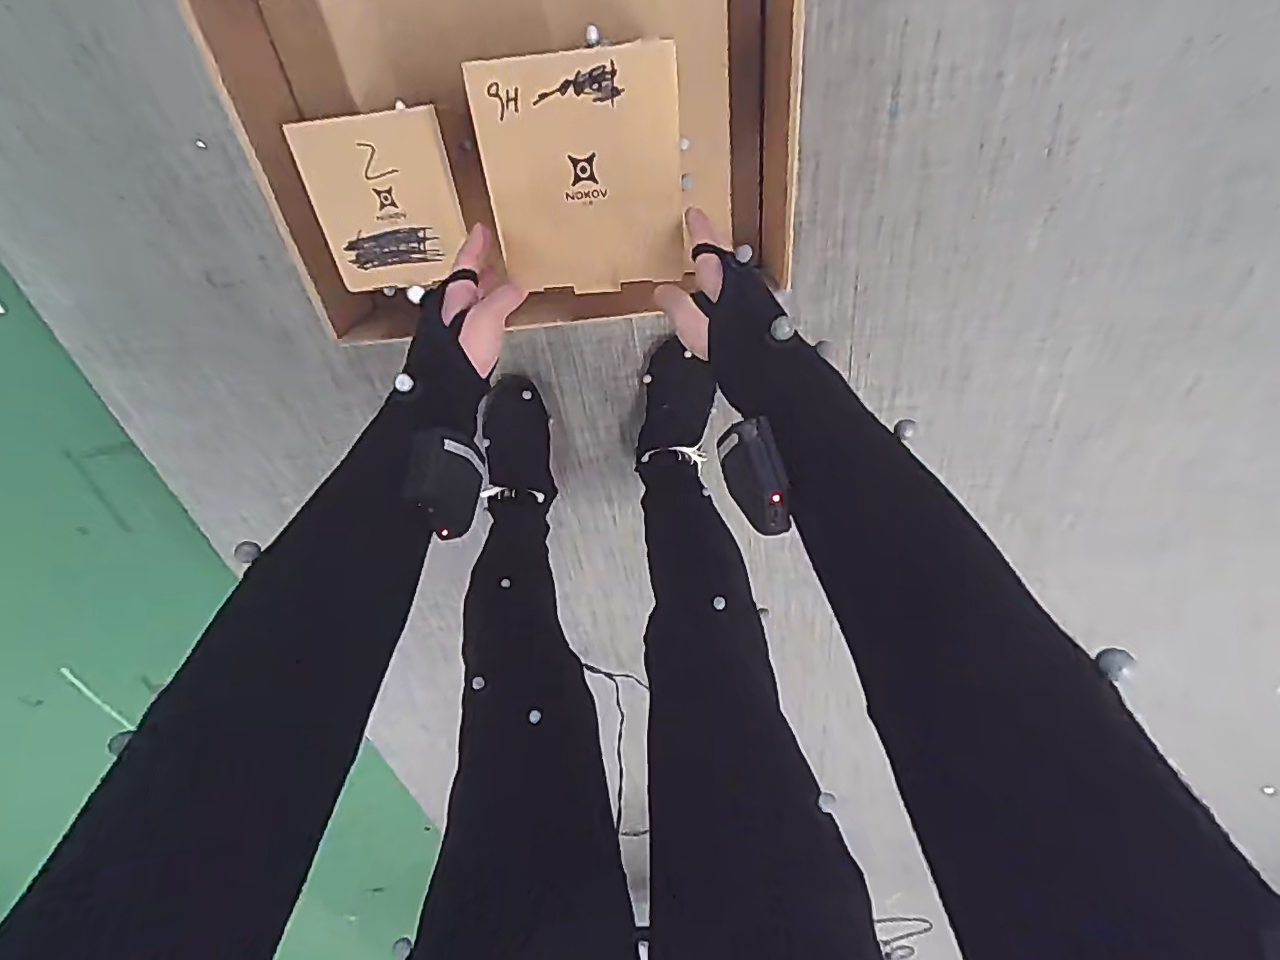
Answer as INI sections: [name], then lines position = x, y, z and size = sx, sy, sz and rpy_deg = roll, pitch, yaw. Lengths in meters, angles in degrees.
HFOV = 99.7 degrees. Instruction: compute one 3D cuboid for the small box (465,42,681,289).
[small box]
position = -0.044, -0.301, 0.521
size = 0.168, 0.176, 0.179
rpy_deg = -3, 126, 4
